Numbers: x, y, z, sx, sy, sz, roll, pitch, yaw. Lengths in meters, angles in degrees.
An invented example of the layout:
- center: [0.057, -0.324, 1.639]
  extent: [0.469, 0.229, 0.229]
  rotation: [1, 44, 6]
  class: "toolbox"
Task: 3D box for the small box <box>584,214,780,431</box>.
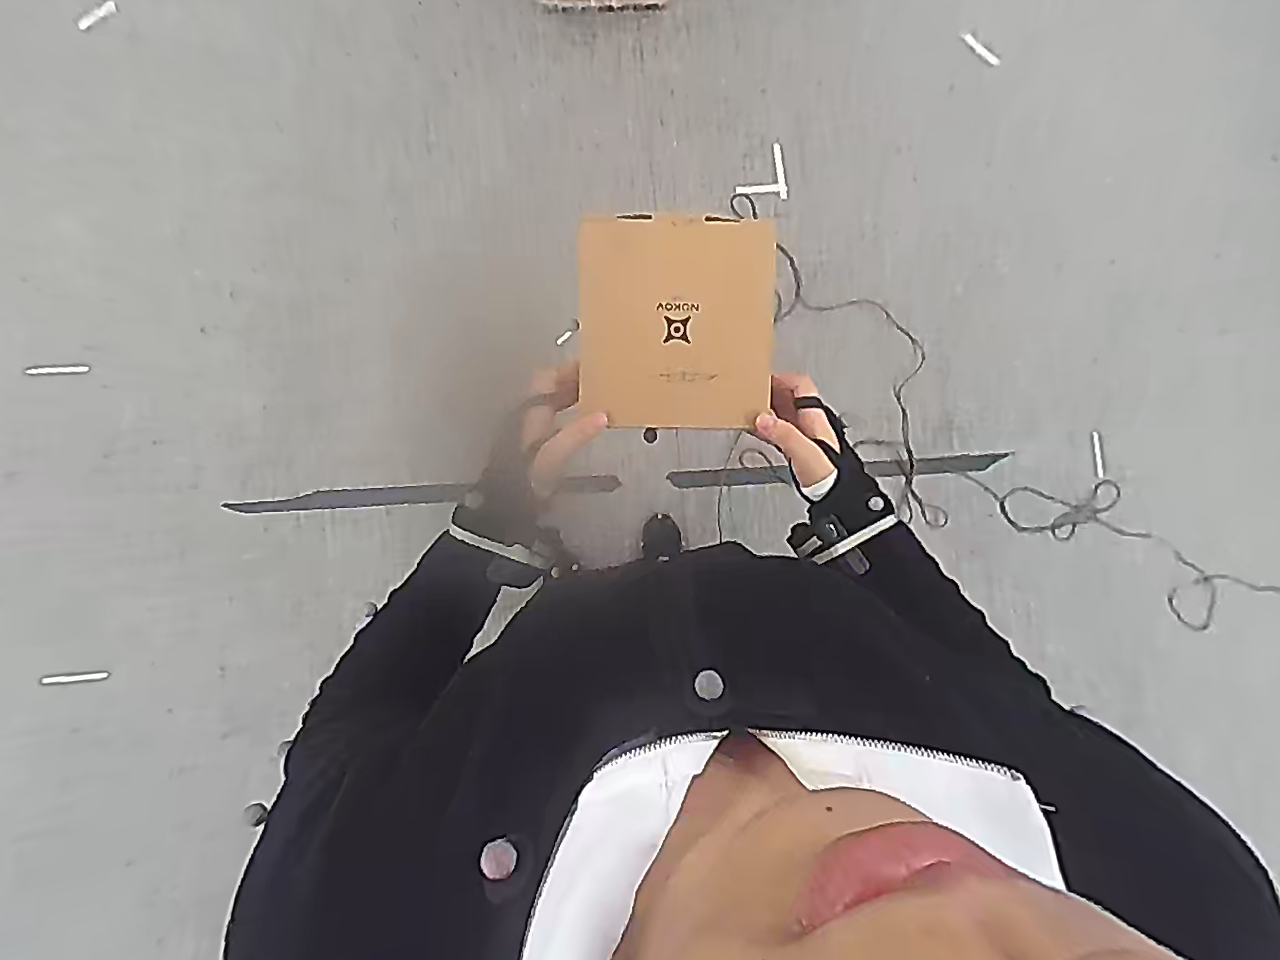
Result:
- center: [0.031, -0.138, 0.533]
  extent: [0.168, 0.176, 0.179]
  rotation: [0, 97, -2]
  class: "small box"
